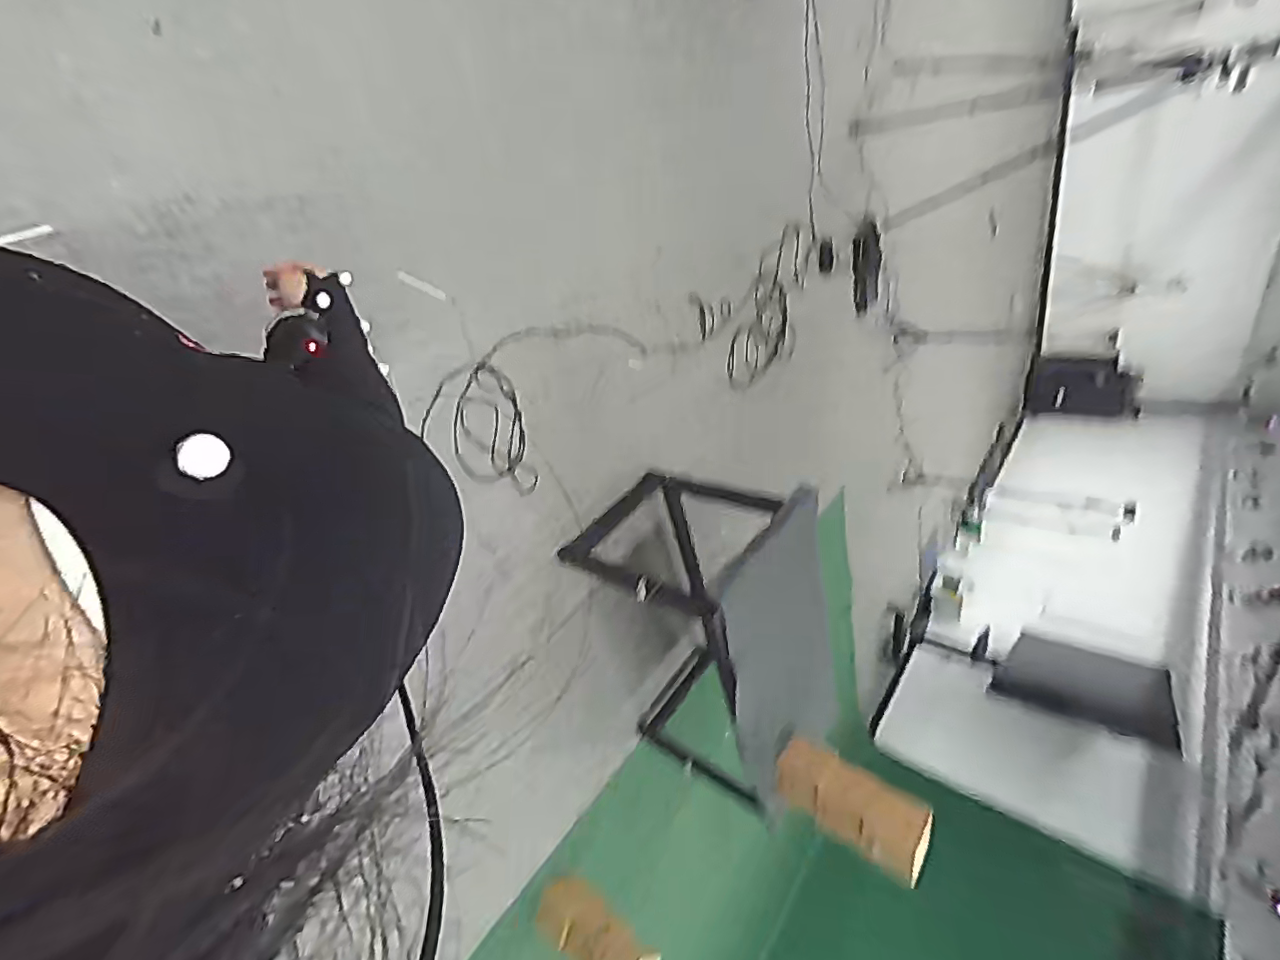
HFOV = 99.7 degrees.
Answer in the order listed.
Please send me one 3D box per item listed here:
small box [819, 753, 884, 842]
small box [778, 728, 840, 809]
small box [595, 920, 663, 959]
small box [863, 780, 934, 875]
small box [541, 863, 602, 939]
[{"bbox_3d":[0.754,1.129,1.935,0.179,0.176,0.168,-26,120,-44],"label":"small box"},{"bbox_3d":[0.635,1.081,2.037,0.179,0.176,0.168,-20,114,-46],"label":"small box"},{"bbox_3d":[-0.045,1.859,2.106,0.179,0.176,0.168,46,66,-44],"label":"small box"},{"bbox_3d":[0.873,1.166,1.828,0.179,0.176,0.168,-32,123,-39],"label":"small box"},{"bbox_3d":[-0.295,1.791,2.310,0.179,0.176,0.168,19,86,-49],"label":"small box"}]
